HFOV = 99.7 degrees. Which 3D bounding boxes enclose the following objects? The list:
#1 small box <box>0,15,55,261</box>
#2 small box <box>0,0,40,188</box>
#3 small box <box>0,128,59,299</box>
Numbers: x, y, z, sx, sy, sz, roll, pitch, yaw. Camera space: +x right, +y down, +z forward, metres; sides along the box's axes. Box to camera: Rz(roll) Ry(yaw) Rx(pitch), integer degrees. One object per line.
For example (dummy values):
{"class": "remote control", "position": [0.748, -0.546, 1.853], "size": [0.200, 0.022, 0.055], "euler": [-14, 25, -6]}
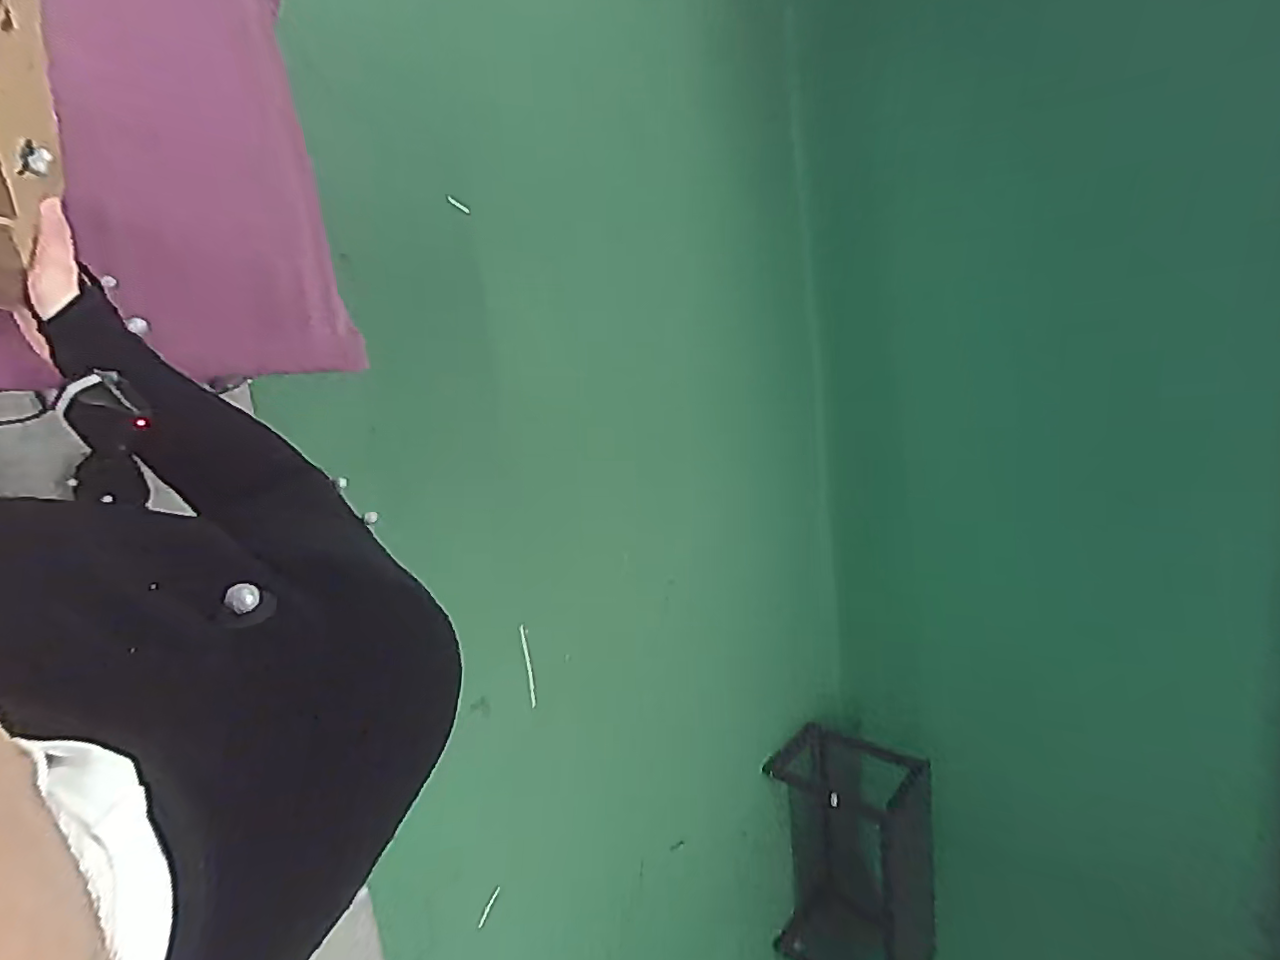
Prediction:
{"class": "small box", "position": [-0.548, -0.273, 0.374], "size": [0.179, 0.176, 0.168], "euler": [7, 89, -45]}
{"class": "small box", "position": [-0.428, -0.266, 0.260], "size": [0.179, 0.176, 0.168], "euler": [5, 89, -45]}
{"class": "small box", "position": [-0.666, -0.279, 0.486], "size": [0.179, 0.176, 0.168], "euler": [10, 86, -46]}
